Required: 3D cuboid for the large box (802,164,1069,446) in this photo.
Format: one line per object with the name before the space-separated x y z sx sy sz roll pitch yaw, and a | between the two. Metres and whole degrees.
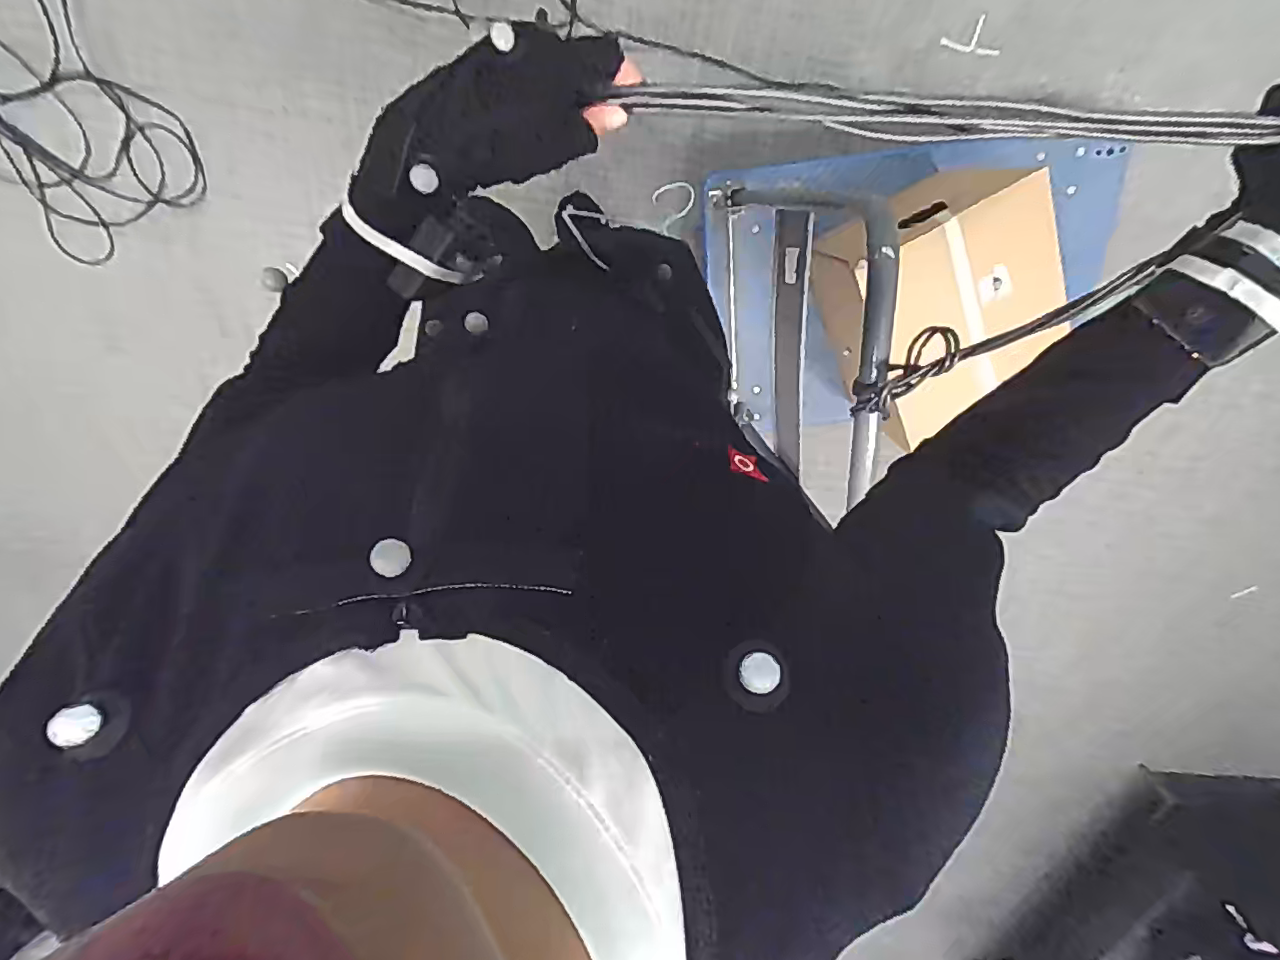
large box | 0.570 -0.348 1.082 0.320 0.320 0.408 -26 116 10
